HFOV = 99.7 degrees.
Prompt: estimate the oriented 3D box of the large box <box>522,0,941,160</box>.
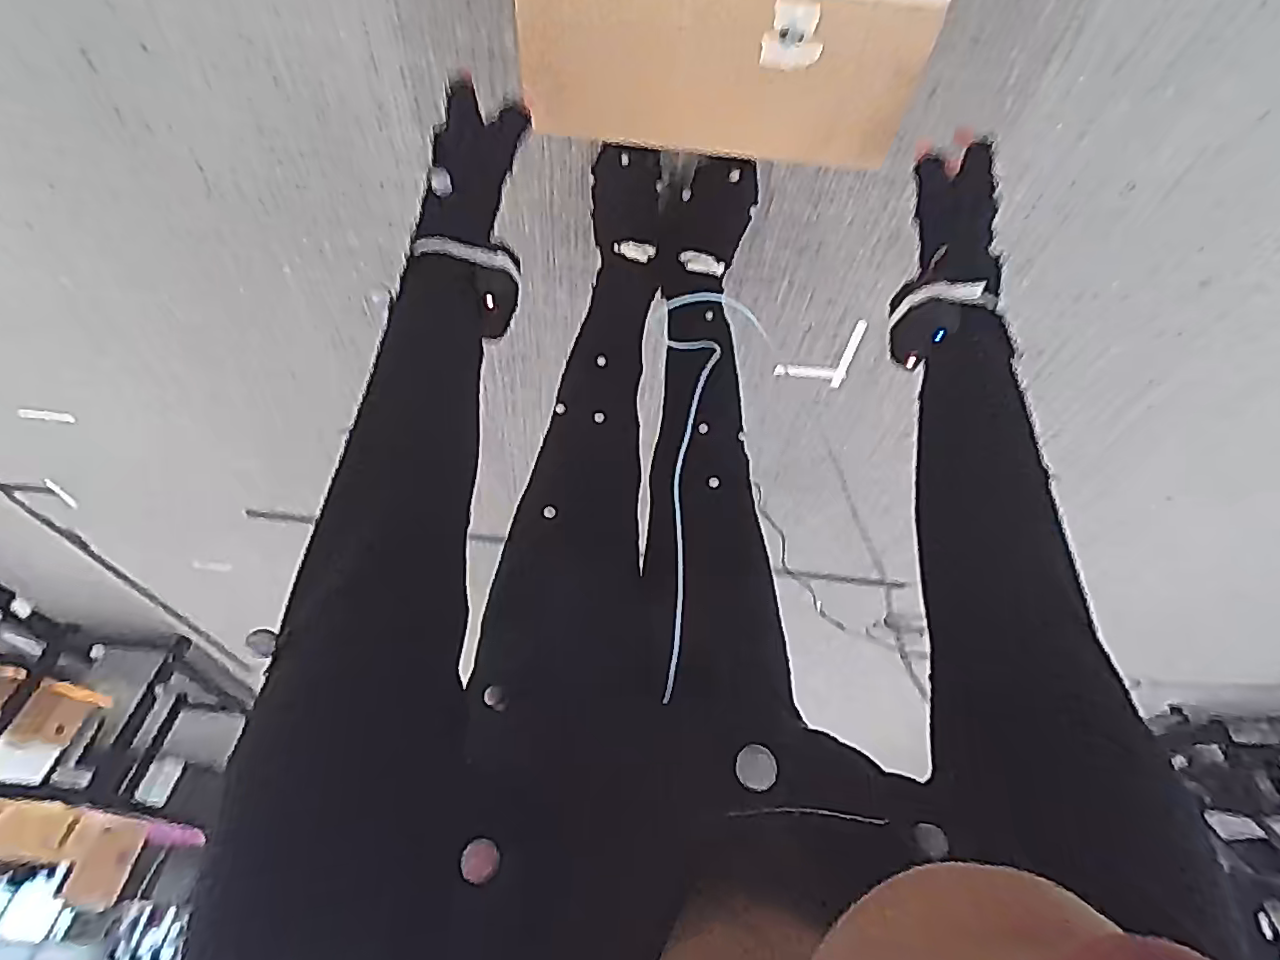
[{"bbox_3d":[0.092,-0.589,0.584,0.408,0.320,0.320,5,142,-2],"label":"large box"}]
